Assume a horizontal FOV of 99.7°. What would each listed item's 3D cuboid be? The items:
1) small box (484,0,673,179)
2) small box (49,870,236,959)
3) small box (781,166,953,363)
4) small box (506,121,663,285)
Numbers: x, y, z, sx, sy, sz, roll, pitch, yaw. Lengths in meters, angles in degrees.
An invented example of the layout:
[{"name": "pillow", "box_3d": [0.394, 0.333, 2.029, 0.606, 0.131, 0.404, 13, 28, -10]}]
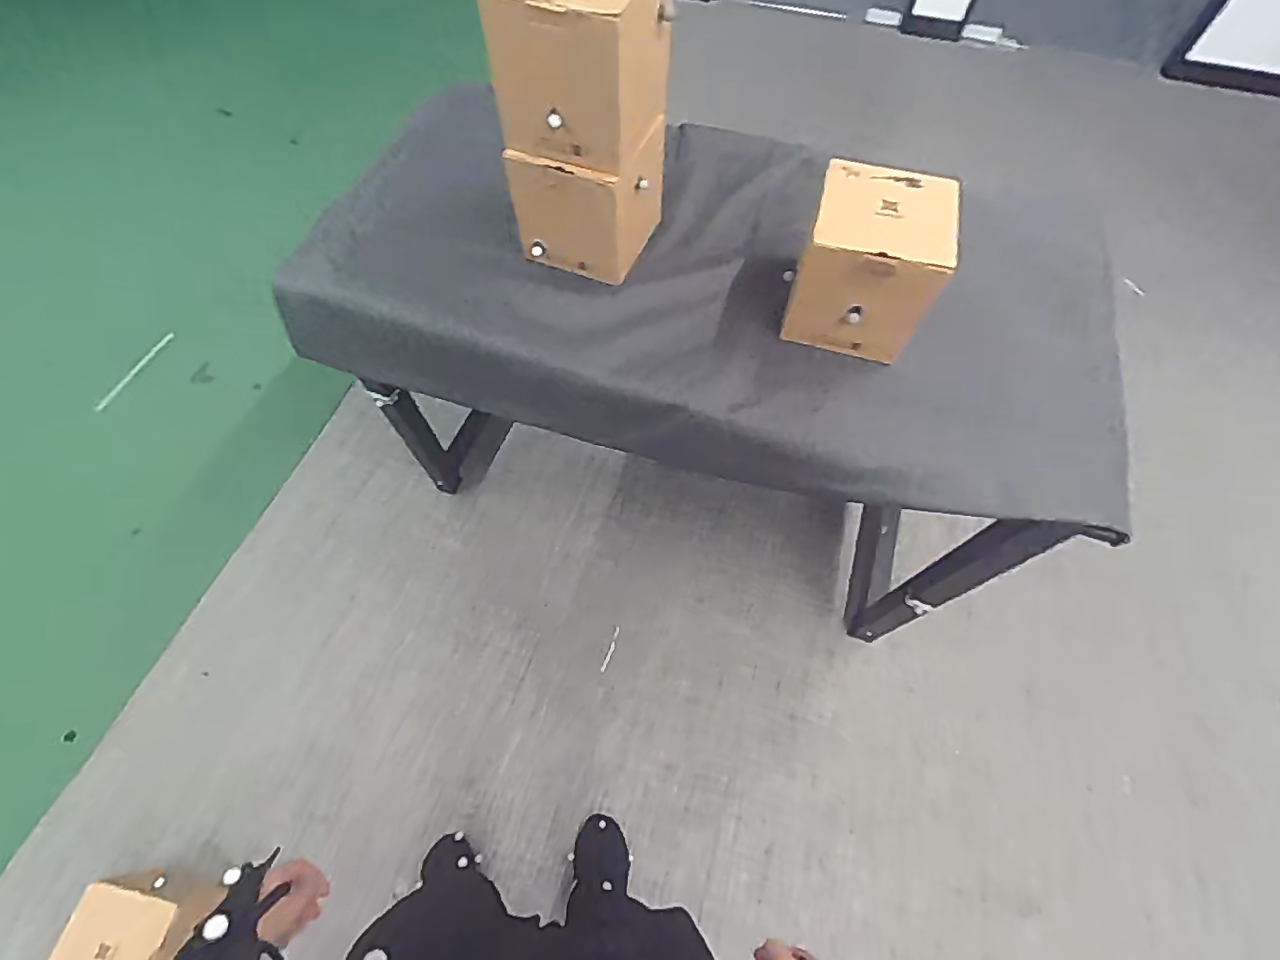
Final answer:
[{"name": "small box", "box_3d": [-0.067, -0.518, 0.676, 0.168, 0.176, 0.179, 18, 63, 9]}, {"name": "small box", "box_3d": [-0.885, 0.821, 0.966, 0.179, 0.176, 0.168, 10, 61, 5]}, {"name": "small box", "box_3d": [0.303, -0.289, 0.747, 0.168, 0.176, 0.179, 15, 63, 7]}, {"name": "small box", "box_3d": [-0.073, -0.427, 0.814, 0.168, 0.176, 0.179, 21, 63, 10]}]
